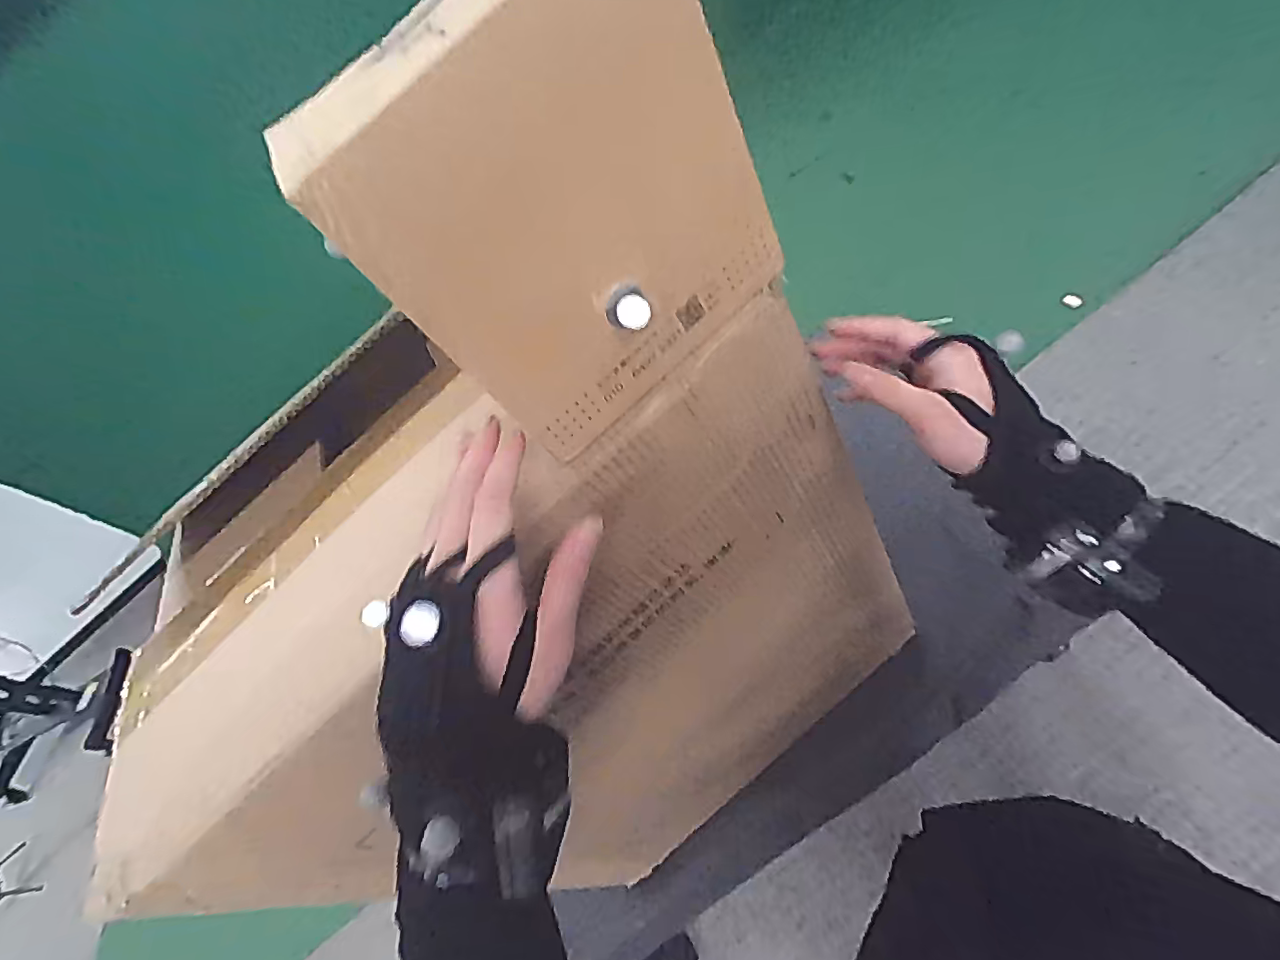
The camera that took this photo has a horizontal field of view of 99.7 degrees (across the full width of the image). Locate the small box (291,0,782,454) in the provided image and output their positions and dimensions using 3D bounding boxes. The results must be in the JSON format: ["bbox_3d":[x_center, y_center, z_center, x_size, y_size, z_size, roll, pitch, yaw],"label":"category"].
[{"bbox_3d":[-0.053,-0.145,0.298,0.168,0.176,0.179,-42,47,0],"label":"small box"}]
